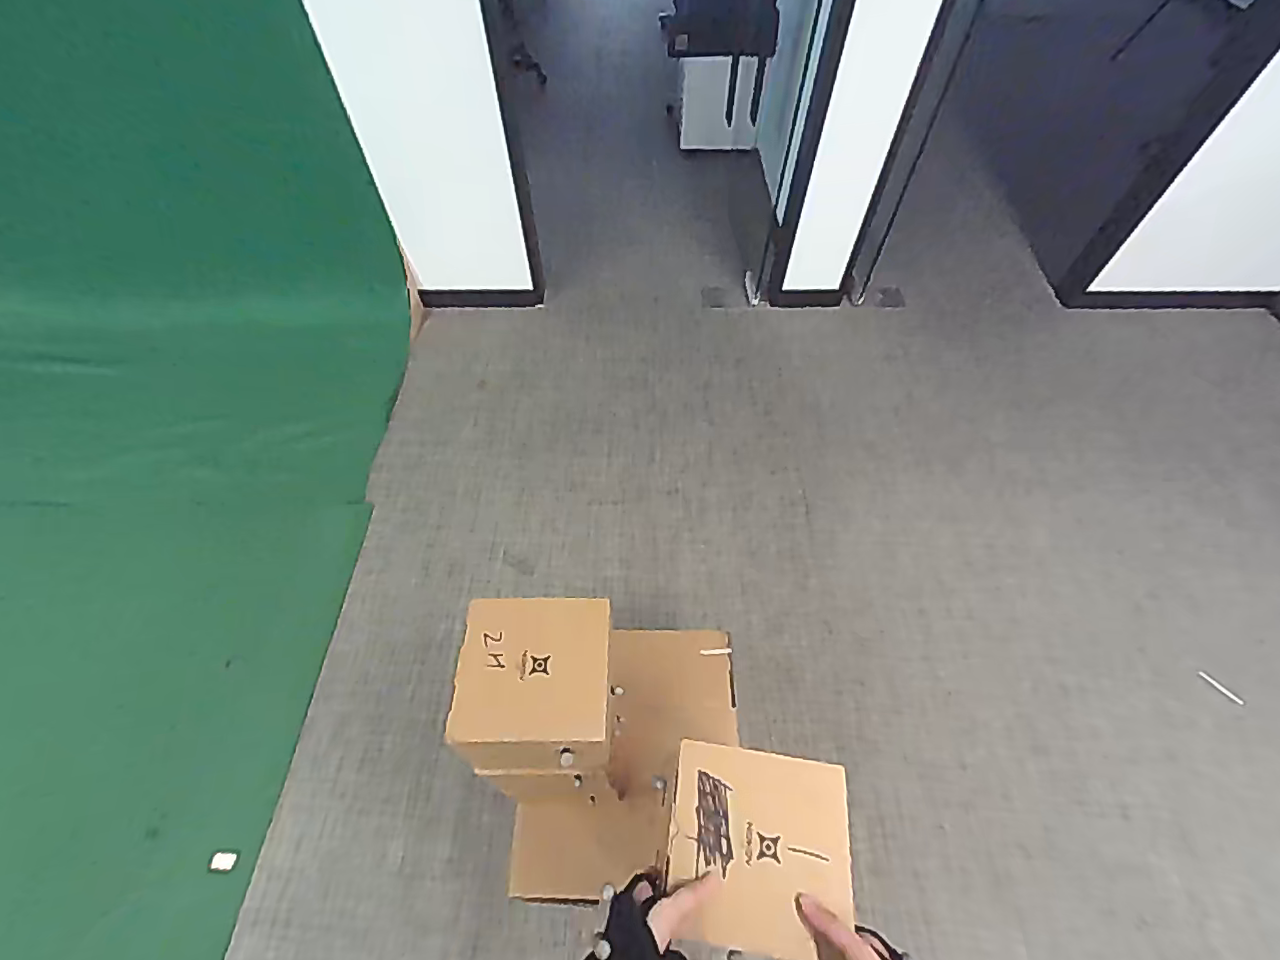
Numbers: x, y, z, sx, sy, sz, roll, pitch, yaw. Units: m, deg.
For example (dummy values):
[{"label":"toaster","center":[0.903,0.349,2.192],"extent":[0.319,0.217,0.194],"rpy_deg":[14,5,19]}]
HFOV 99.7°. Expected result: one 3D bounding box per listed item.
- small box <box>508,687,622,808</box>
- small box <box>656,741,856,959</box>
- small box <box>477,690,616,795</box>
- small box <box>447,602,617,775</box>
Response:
[{"label":"small box","center":[-0.120,0.470,0.947],"extent":[0.179,0.176,0.168],"rpy_deg":[-2,53,0]},{"label":"small box","center":[0.114,0.401,0.586],"extent":[0.179,0.176,0.168],"rpy_deg":[8,55,4]},{"label":"small box","center":[-0.128,0.371,0.818],"extent":[0.179,0.176,0.168],"rpy_deg":[0,52,-1]},{"label":"small box","center":[-0.120,0.268,0.689],"extent":[0.179,0.176,0.168],"rpy_deg":[0,52,1]}]
